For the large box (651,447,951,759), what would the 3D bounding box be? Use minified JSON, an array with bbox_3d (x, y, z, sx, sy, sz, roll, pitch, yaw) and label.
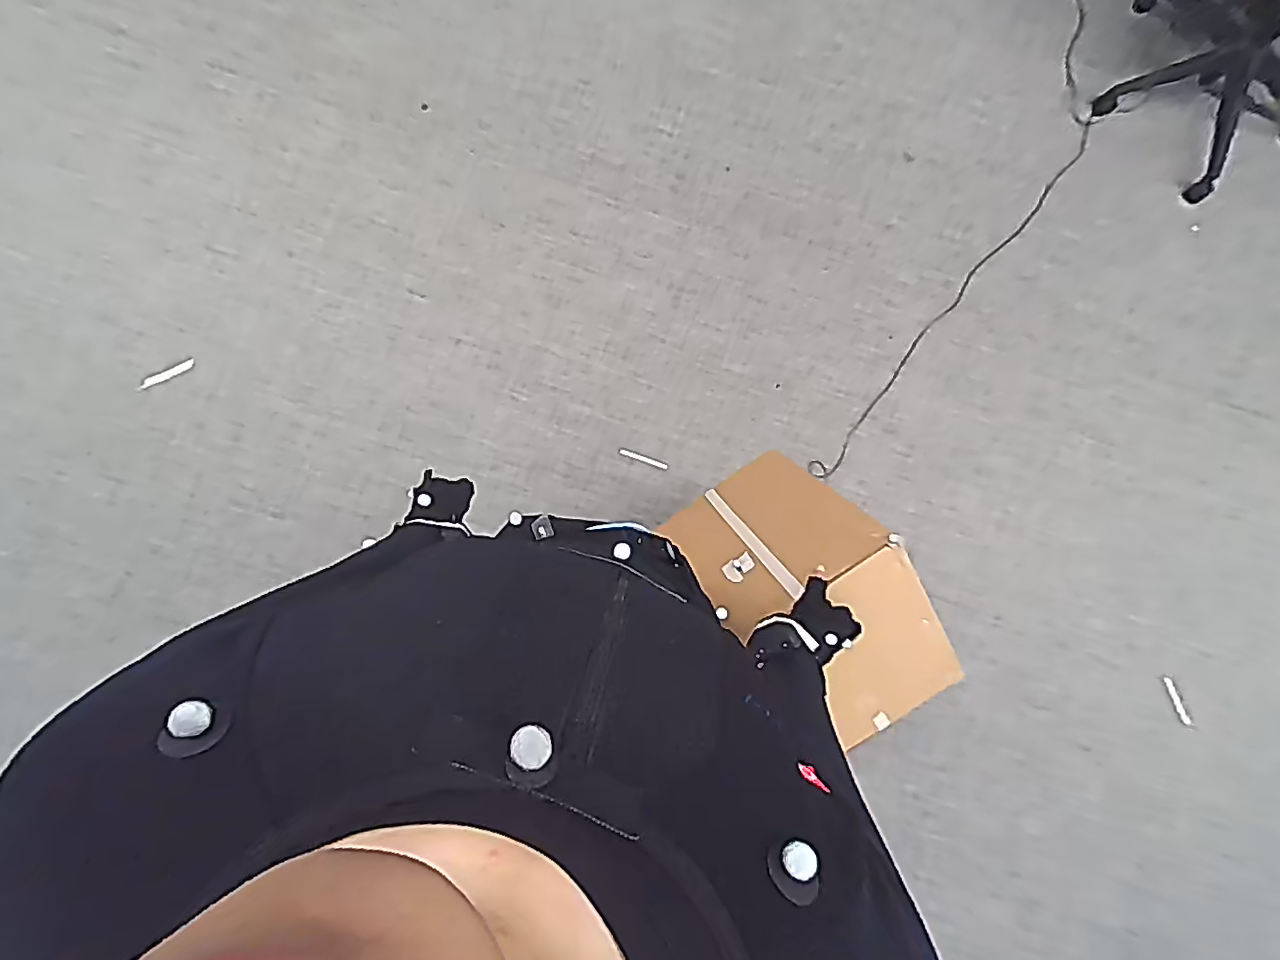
[{"bbox_3d":[0.267,0.198,0.997,0.320,0.408,0.320,-36,116,3],"label":"large box"}]
